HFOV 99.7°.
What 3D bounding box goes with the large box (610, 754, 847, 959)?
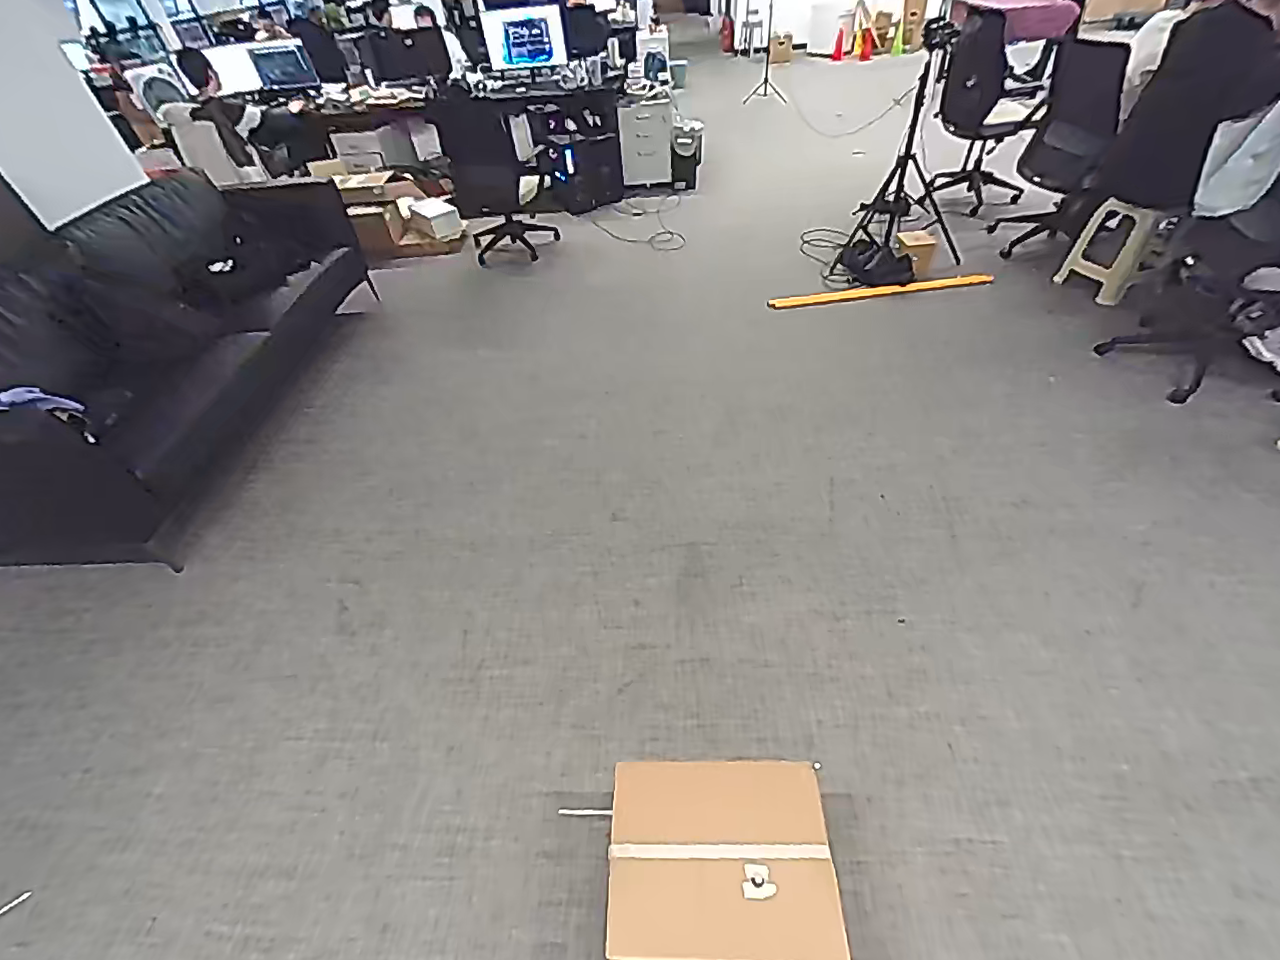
[{"bbox_3d":[0.158,0.781,1.108,0.408,0.320,0.320,-2,45,5],"label":"large box"}]
